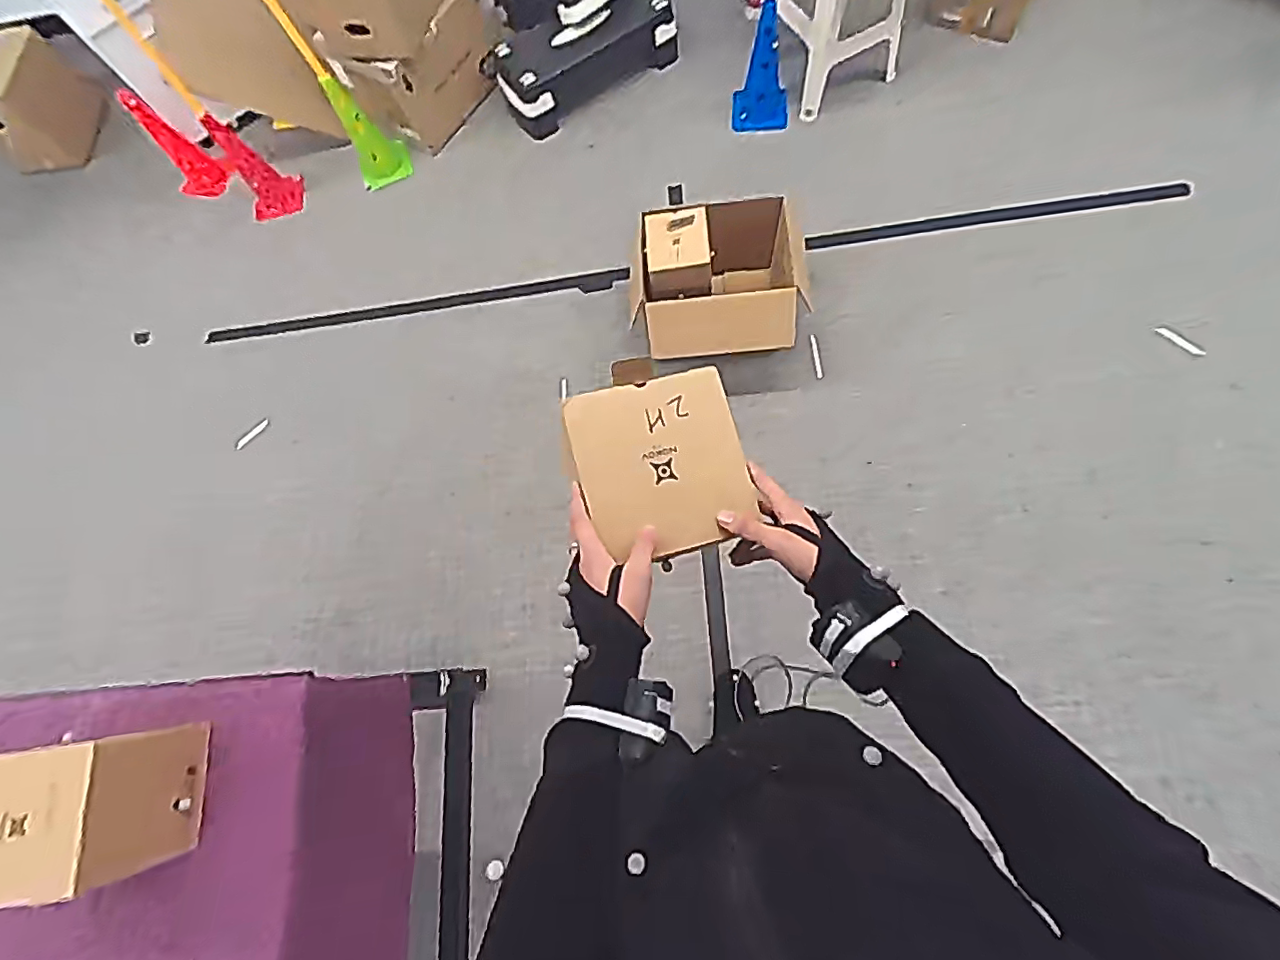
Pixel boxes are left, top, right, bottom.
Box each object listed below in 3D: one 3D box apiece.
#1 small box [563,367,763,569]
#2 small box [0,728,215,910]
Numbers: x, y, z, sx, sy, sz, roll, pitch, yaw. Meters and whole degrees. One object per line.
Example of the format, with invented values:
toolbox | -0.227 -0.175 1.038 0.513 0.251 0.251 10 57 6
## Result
small box | 0.014 -0.002 0.610 0.168 0.176 0.179 -14 80 -11
small box | -0.725 0.439 0.721 0.179 0.176 0.168 -10 73 5
